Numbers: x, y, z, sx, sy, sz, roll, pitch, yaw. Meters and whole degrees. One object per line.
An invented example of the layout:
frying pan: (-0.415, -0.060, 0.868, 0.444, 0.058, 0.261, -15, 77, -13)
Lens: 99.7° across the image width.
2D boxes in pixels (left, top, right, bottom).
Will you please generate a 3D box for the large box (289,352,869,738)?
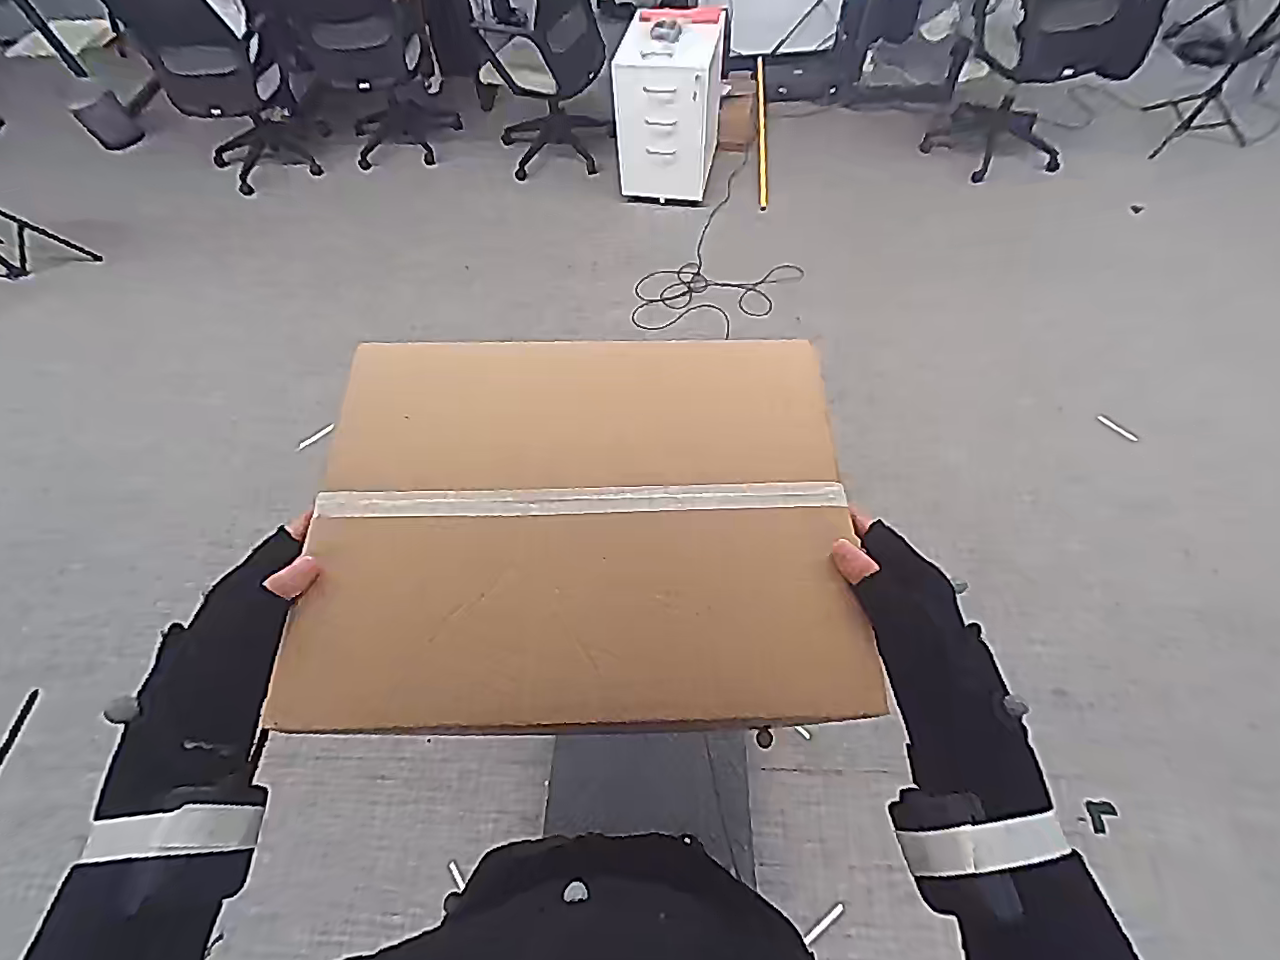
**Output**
large box: (-0.044, 0.089, 0.564, 0.408, 0.320, 0.320, -1, 64, -1)
